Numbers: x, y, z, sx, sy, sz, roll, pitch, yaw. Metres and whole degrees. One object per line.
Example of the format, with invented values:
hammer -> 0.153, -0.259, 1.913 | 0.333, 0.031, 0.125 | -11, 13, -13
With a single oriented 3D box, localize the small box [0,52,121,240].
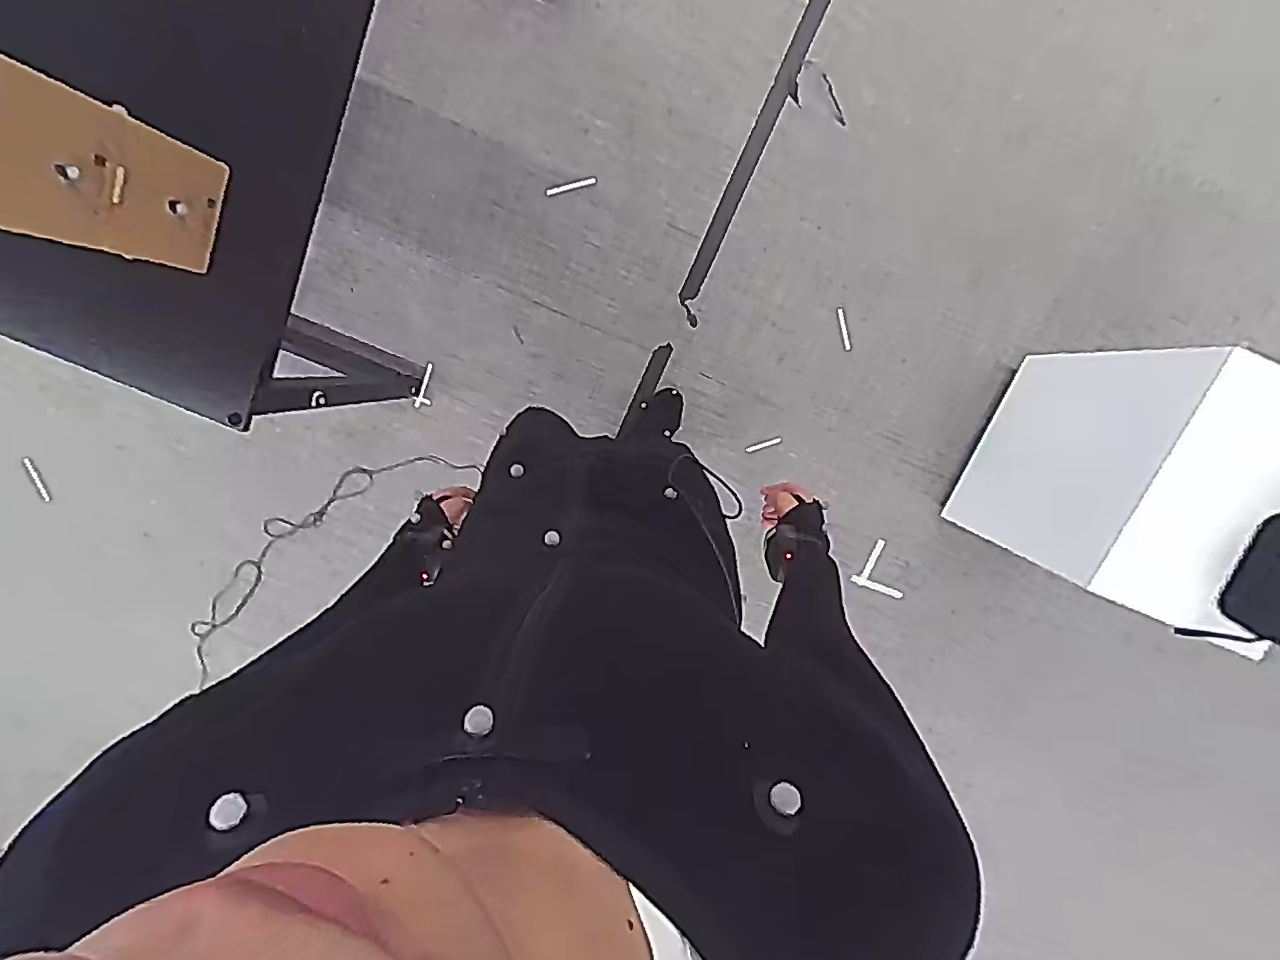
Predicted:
small box -> -0.724, -0.378, 0.570 | 0.179, 0.176, 0.168 | 22, 101, -4

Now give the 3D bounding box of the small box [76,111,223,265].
small box -> -0.720, -0.409, 0.732 | 0.179, 0.176, 0.168 | 21, 100, -4
